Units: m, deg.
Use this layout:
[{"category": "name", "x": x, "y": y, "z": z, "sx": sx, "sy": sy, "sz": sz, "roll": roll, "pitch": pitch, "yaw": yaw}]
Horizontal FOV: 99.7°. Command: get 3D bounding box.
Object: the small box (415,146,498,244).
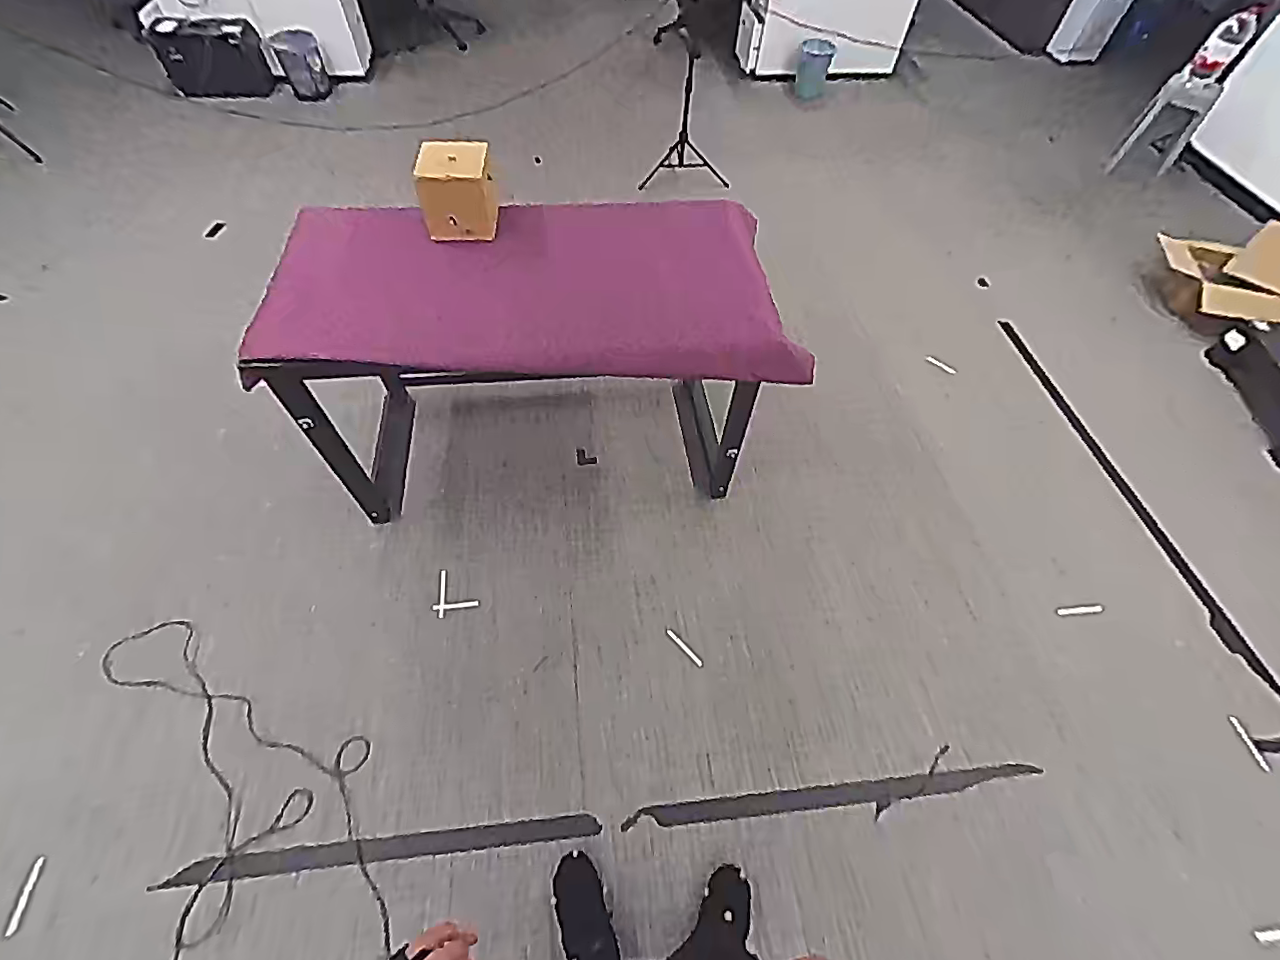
[{"category": "small box", "x": -0.471, "y": -0.745, "z": 1.417, "sx": 0.168, "sy": 0.176, "sz": 0.179, "roll": -2, "pitch": 57, "yaw": -5}]
